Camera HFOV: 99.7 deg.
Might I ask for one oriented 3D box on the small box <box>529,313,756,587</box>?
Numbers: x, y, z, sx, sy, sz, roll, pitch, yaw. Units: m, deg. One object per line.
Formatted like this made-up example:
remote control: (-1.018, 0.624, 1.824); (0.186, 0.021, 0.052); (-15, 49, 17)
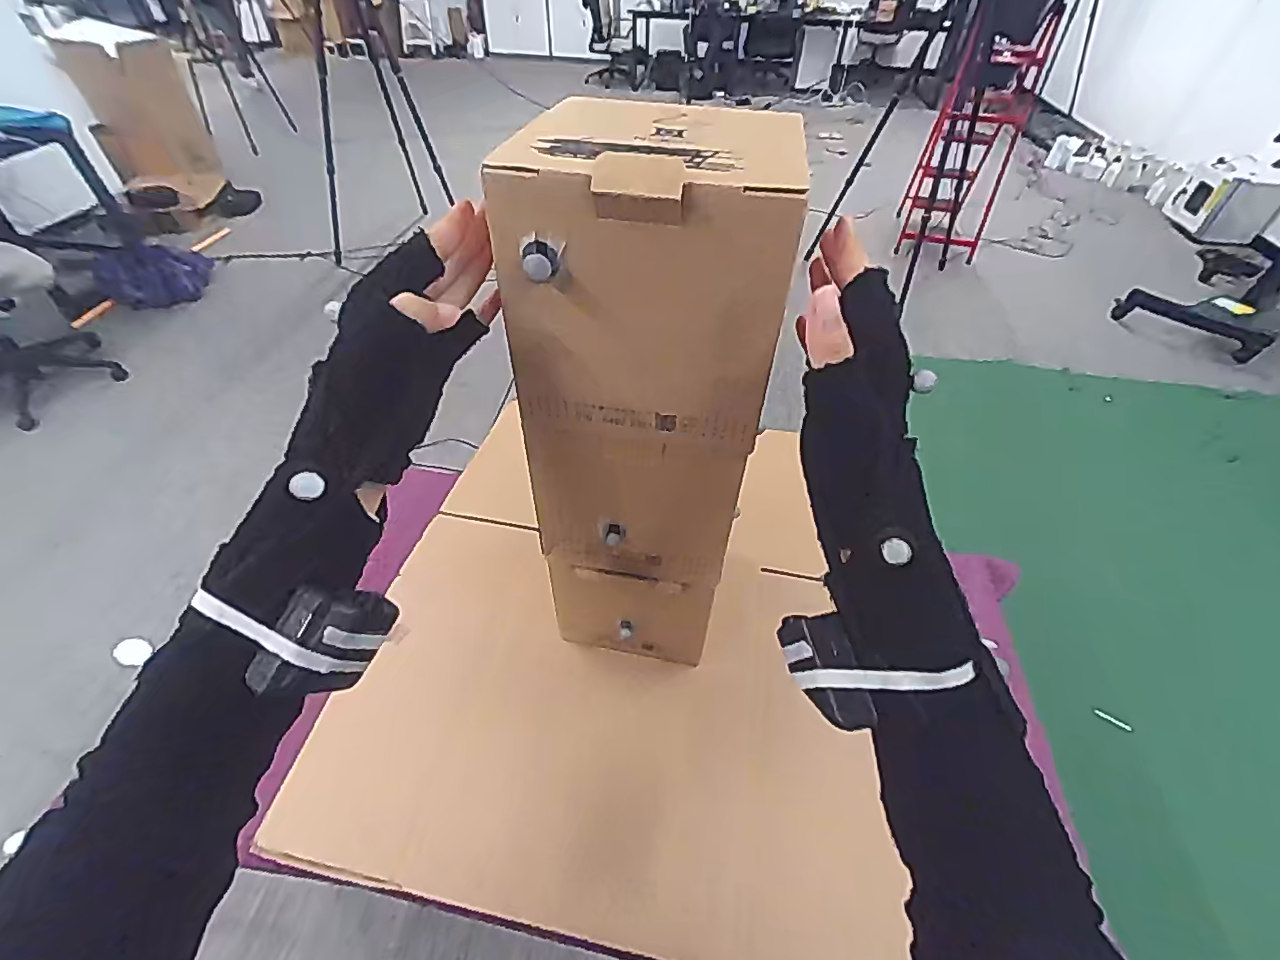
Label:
small box: (0.008, -0.029, 0.502); (0.168, 0.176, 0.179); (8, 45, 6)

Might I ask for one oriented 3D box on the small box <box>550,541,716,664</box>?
small box: (0.007, 0.081, 0.622); (0.168, 0.176, 0.179); (9, 46, 8)
